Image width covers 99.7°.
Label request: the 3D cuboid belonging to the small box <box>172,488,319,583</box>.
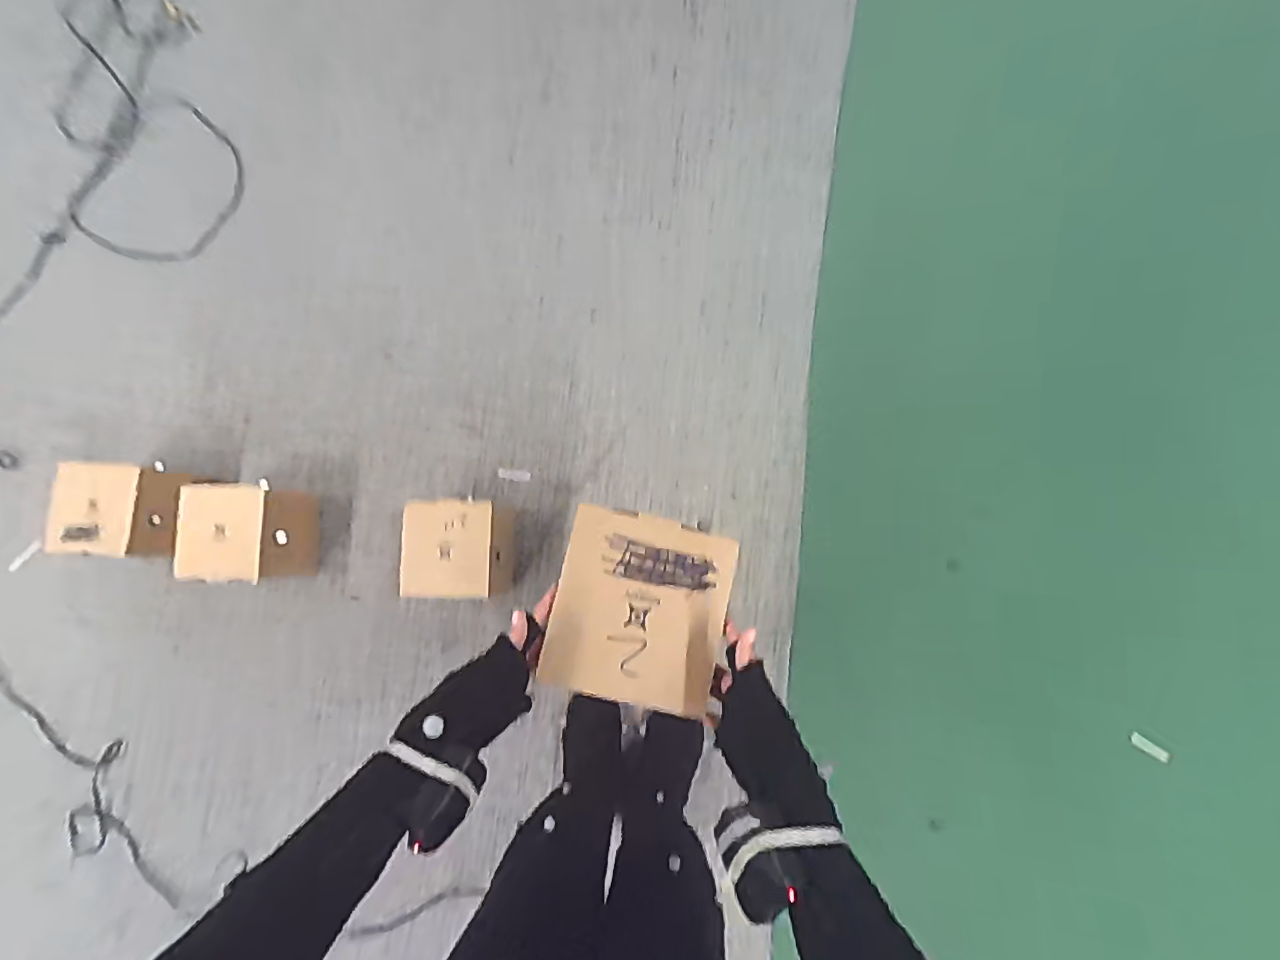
[{"bbox_3d":[-0.773,0.111,1.078,0.168,0.176,0.179,0,84,3],"label":"small box"}]

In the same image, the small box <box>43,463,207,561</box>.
[{"bbox_3d":[-1.024,0.068,1.092,0.168,0.176,0.179,3,83,3],"label":"small box"}]

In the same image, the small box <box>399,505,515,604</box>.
[{"bbox_3d":[-0.348,0.142,1.056,0.168,0.176,0.179,1,84,1],"label":"small box"}]
